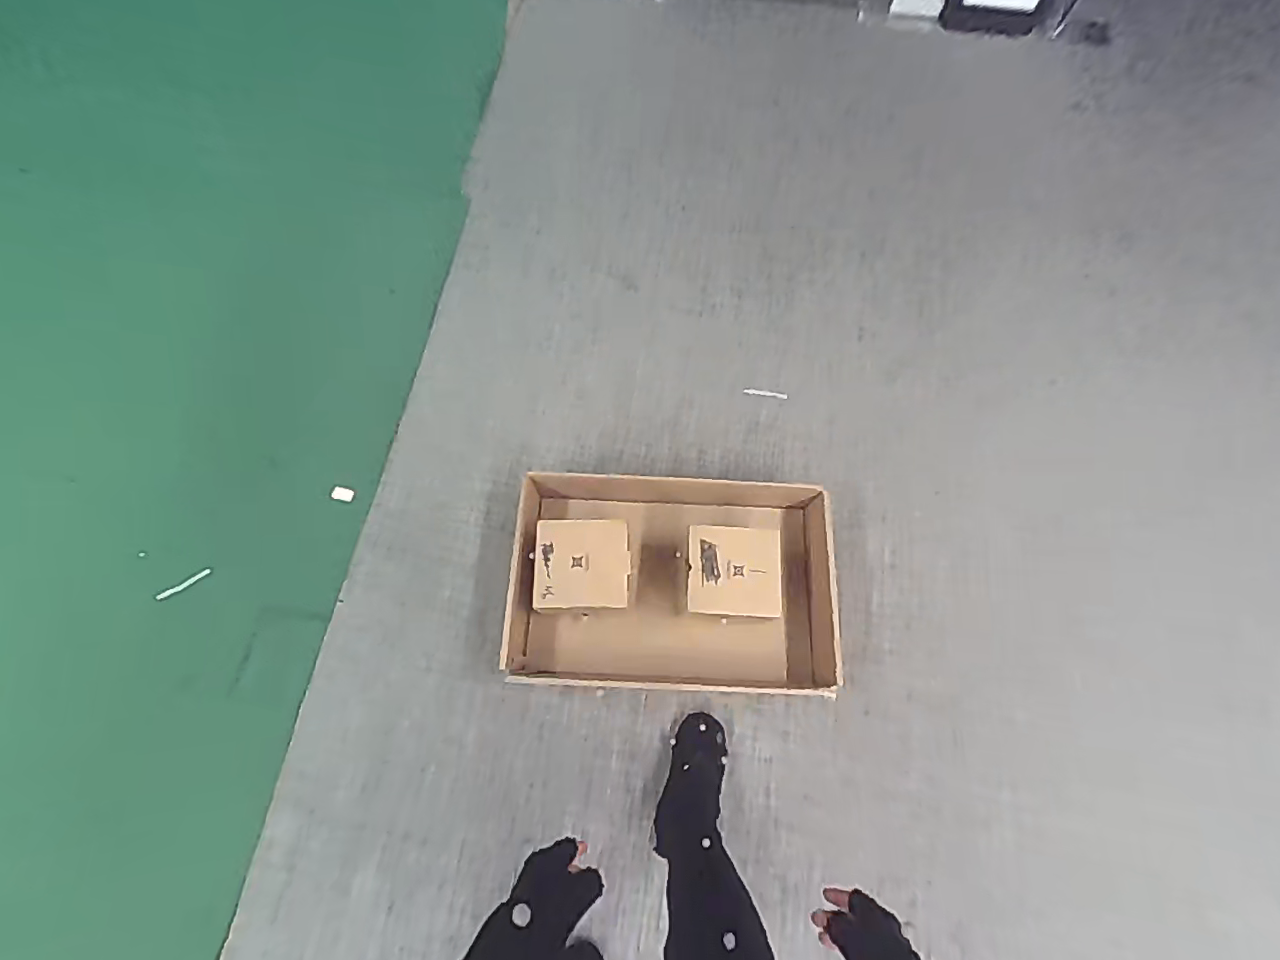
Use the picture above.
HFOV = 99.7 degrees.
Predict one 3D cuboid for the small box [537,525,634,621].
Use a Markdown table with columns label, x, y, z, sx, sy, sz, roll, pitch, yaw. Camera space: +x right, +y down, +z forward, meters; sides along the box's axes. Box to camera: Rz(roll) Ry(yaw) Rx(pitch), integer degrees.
| label | x | y | z | sx | sy | sz | roll | pitch | yaw |
| --- | --- | --- | --- | --- | --- | --- | --- | --- | --- |
| small box | -0.104 | 0.190 | 1.082 | 0.179 | 0.176 | 0.168 | 1 | 70 | -2 |

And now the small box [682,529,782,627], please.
| label | x | y | z | sx | sy | sz | roll | pitch | yaw |
| --- | --- | --- | --- | --- | --- | --- | --- | --- | --- |
| small box | 0.178 | 0.202 | 1.081 | 0.179 | 0.176 | 0.168 | 3 | 71 | 1 |
